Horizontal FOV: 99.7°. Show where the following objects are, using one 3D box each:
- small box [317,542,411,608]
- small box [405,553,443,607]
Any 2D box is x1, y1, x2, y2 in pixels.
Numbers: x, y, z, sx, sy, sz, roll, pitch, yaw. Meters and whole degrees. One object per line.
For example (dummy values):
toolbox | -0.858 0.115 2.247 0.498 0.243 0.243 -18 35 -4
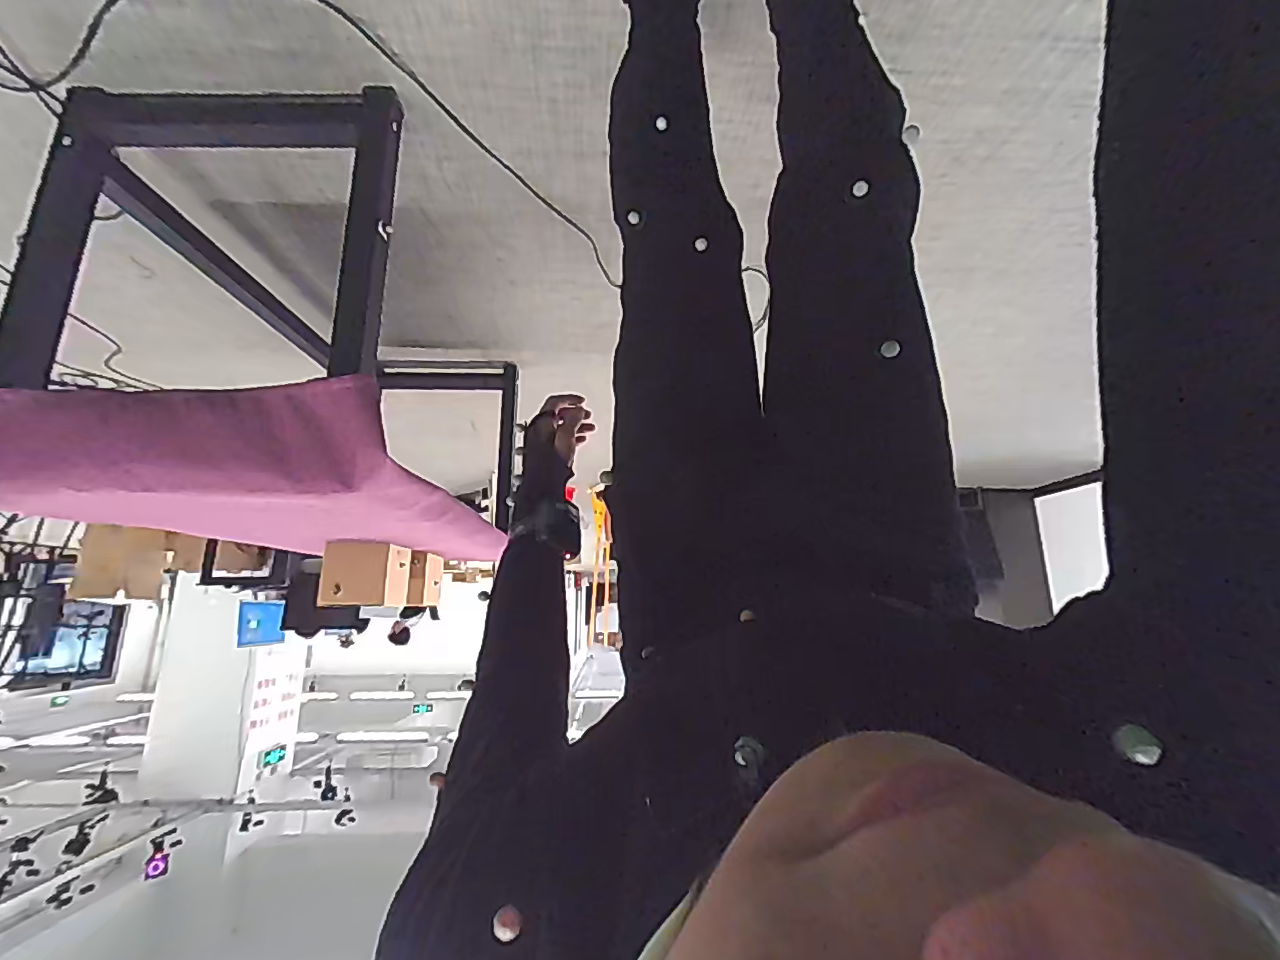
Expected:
small box | -0.757 0.267 1.502 0.179 0.176 0.168 0 167 -4
small box | -0.748 0.325 1.751 0.168 0.176 0.179 1 167 -3
